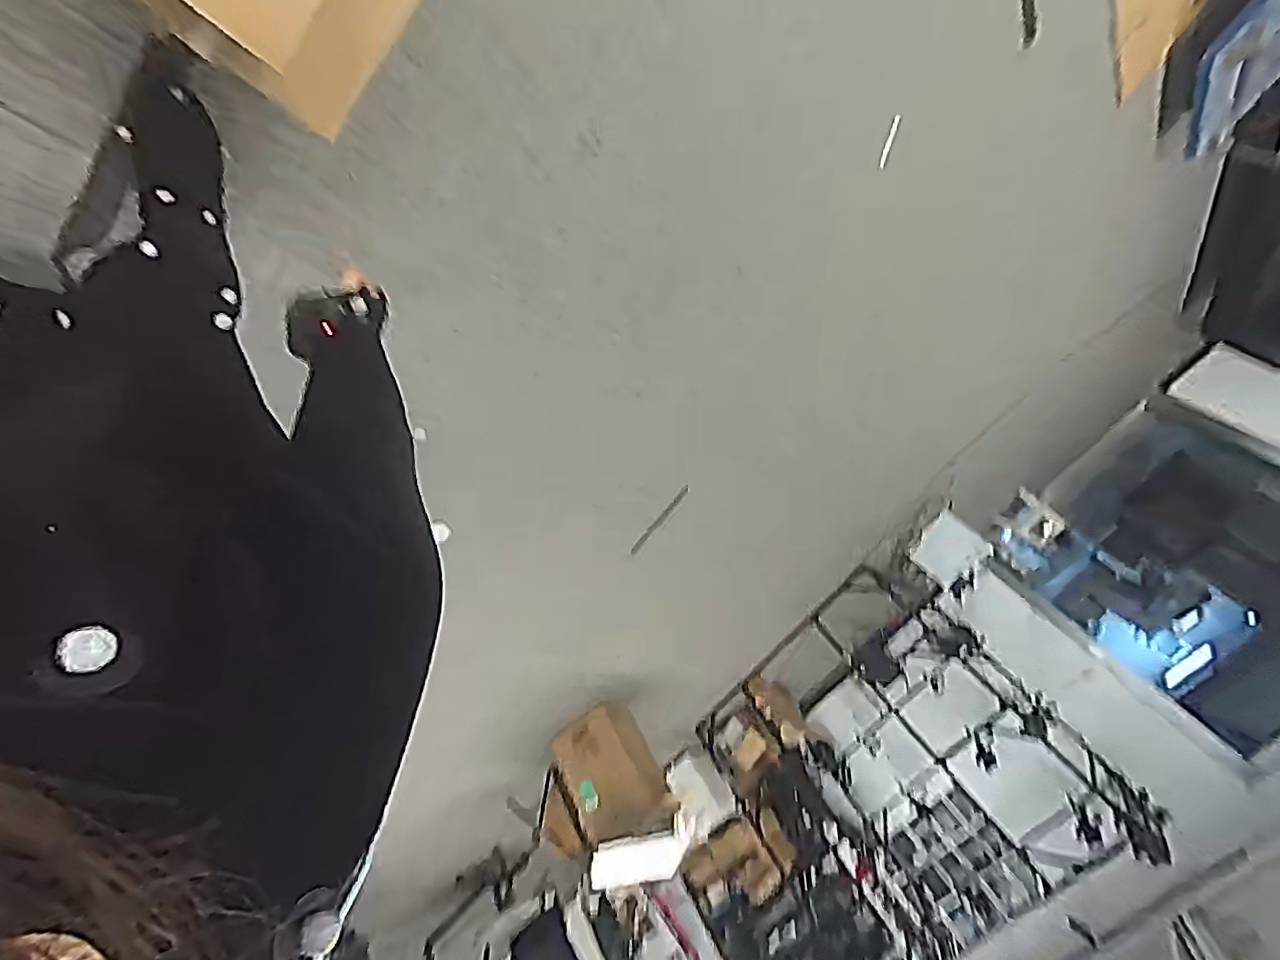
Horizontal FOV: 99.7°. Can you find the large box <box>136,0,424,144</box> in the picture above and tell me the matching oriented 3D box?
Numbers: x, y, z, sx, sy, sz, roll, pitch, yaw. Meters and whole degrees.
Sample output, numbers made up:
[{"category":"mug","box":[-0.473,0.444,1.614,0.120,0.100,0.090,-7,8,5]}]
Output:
[{"category":"large box","box":[-0.465,-0.746,0.694,0.408,0.320,0.320,-49,142,12]}]

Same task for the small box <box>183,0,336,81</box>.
[{"category":"small box","box":[-0.401,-0.553,0.540,0.179,0.176,0.168,-49,139,14]}]
